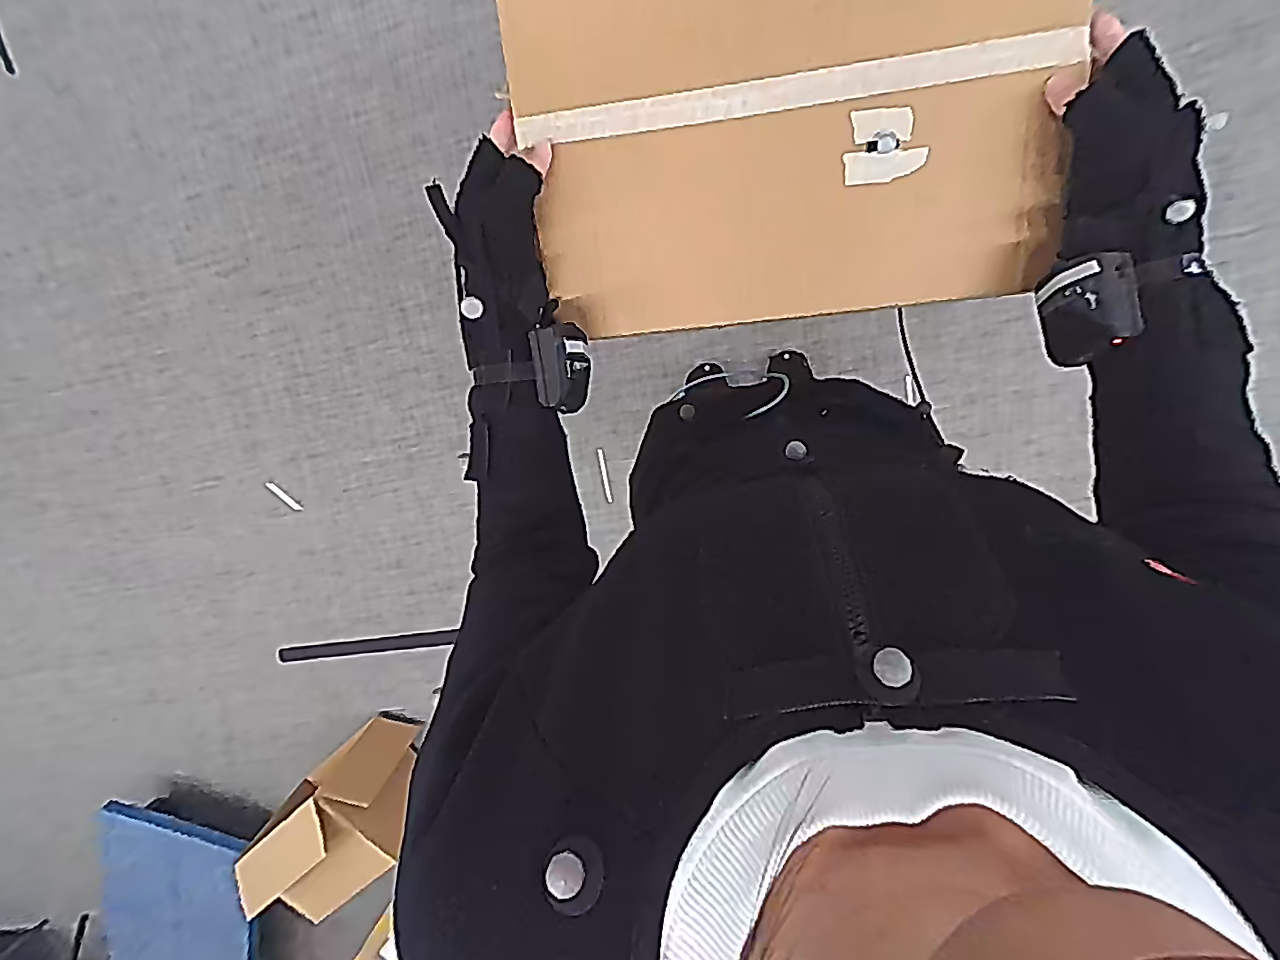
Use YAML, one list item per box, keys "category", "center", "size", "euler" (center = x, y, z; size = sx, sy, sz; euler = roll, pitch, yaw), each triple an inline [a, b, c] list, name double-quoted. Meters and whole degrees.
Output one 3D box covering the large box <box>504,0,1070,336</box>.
- category: "large box"
  center: [0.115, -0.330, 0.548]
  size: [0.408, 0.320, 0.320]
  euler: [-5, 106, 5]
